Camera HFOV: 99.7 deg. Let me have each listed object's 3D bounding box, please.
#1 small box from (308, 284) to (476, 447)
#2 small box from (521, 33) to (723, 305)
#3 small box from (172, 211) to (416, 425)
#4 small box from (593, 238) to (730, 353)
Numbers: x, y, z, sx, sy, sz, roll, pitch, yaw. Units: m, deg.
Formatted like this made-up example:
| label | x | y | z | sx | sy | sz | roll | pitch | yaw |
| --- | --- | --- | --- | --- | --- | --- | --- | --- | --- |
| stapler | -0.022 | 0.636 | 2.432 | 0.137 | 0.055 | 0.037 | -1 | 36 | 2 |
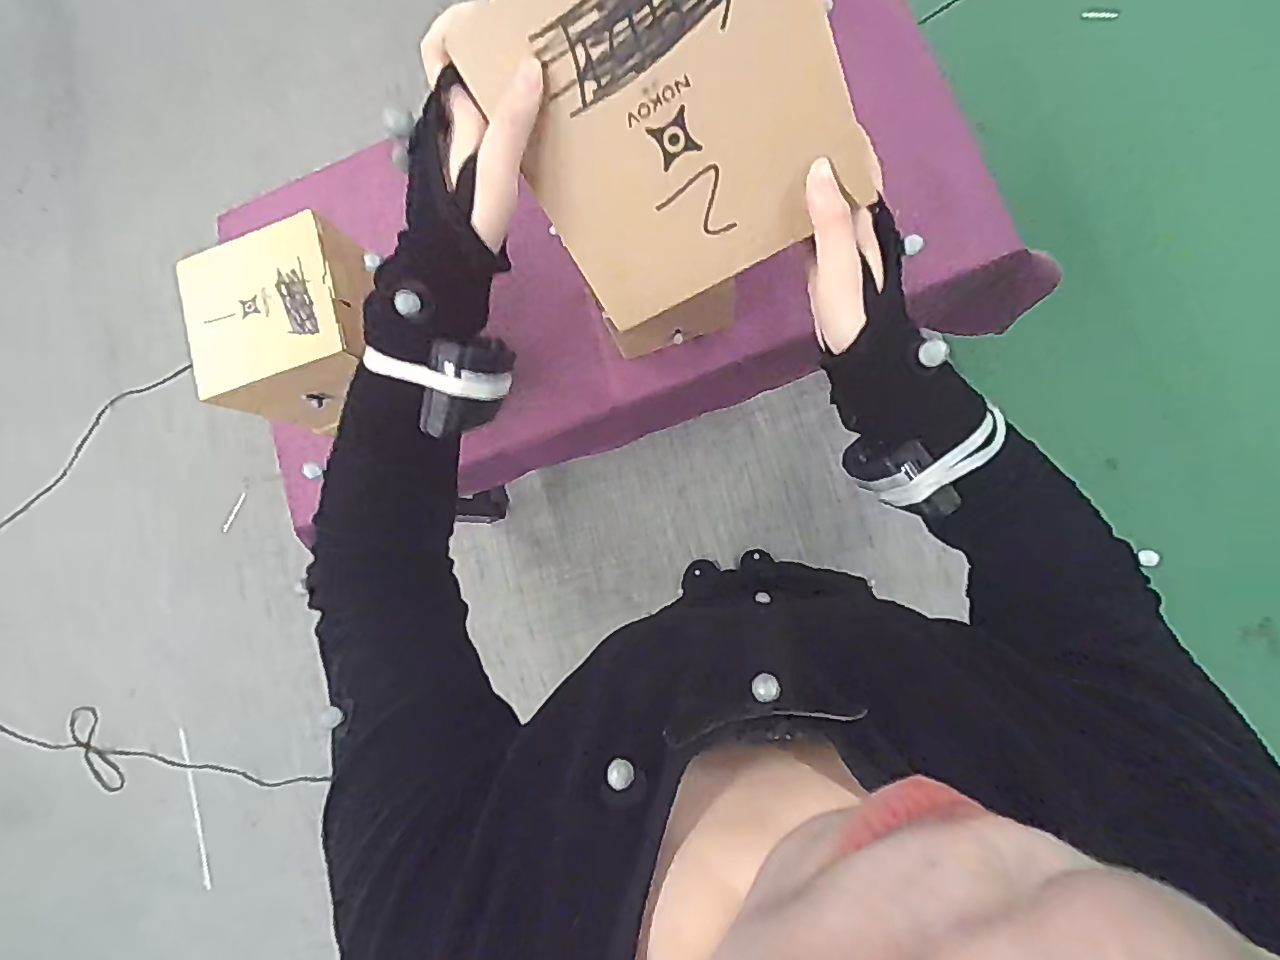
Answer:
| label | x | y | z | sx | sy | sz | roll | pitch | yaw |
| --- | --- | --- | --- | --- | --- | --- | --- | --- | --- |
| small box | -0.375 | -0.158 | 0.812 | 0.179 | 0.176 | 0.168 | -17 | 83 | 6 |
| small box | -0.011 | -0.329 | 0.608 | 0.168 | 0.176 | 0.179 | -17 | 83 | 7 |
| small box | -0.395 | -0.178 | 0.650 | 0.179 | 0.176 | 0.168 | -18 | 83 | 7 |
| small box | 0.018 | -0.303 | 0.767 | 0.179 | 0.176 | 0.168 | -18 | 82 | 6 |
